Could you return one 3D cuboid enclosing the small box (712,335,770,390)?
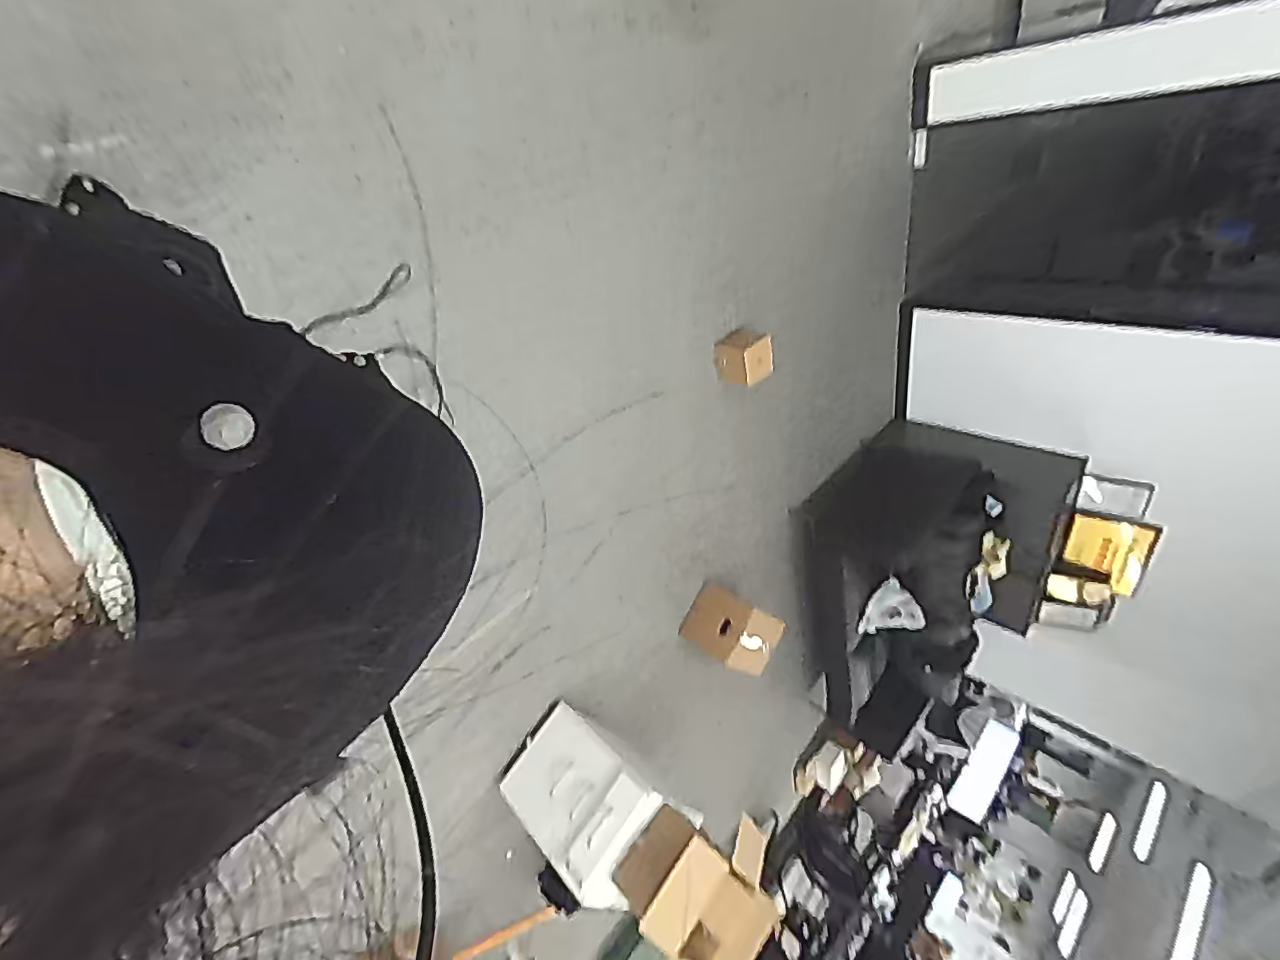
[{"bbox_3d":[0.434,-0.510,2.316,0.179,0.176,0.168,-36,129,-27],"label":"small box"}]
